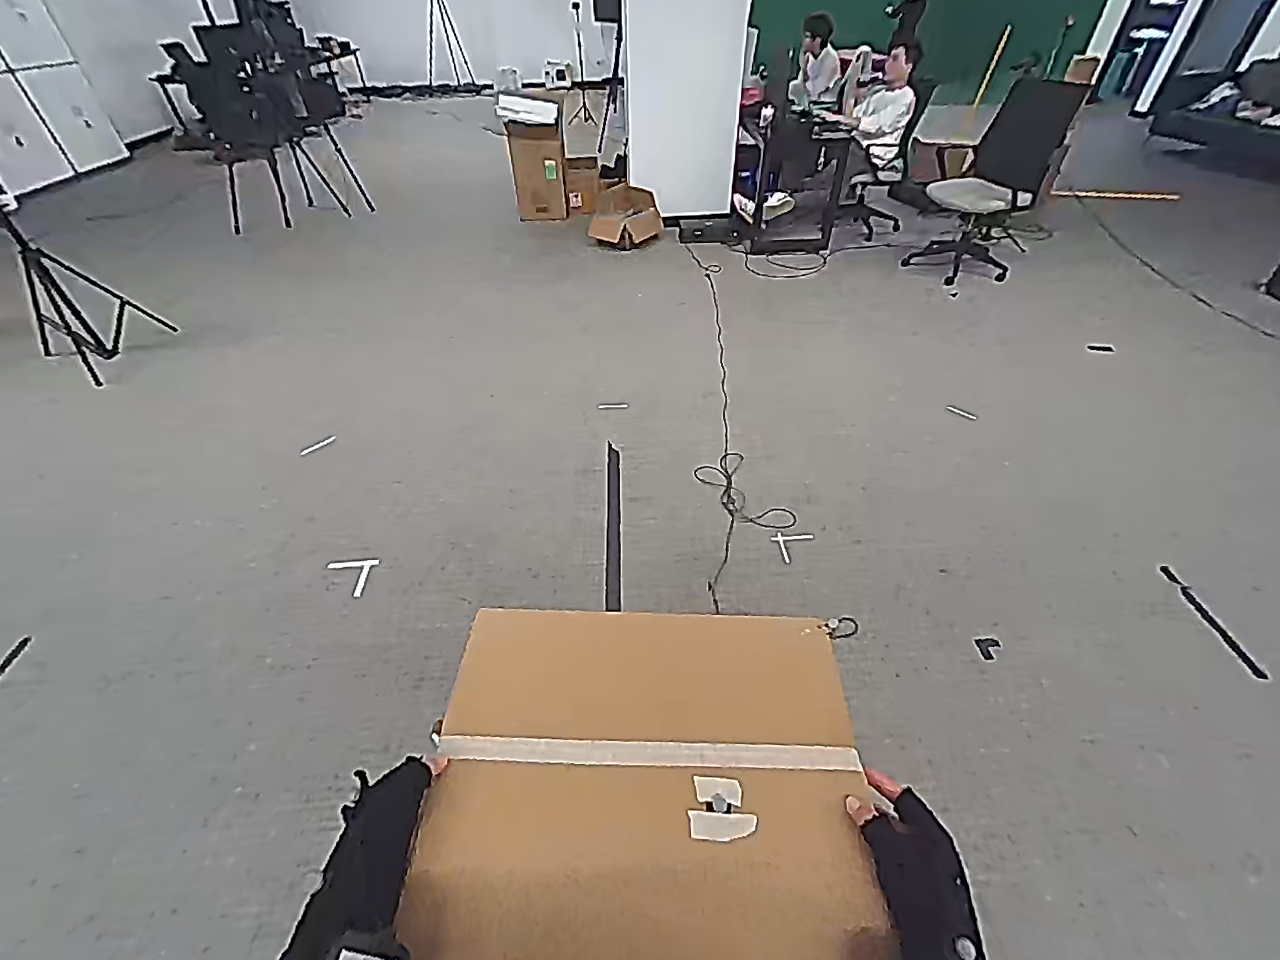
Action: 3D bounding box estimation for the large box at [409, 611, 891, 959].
[{"bbox_3d":[0.008,0.376,0.646,0.408,0.320,0.320,2,45,1],"label":"large box"}]
